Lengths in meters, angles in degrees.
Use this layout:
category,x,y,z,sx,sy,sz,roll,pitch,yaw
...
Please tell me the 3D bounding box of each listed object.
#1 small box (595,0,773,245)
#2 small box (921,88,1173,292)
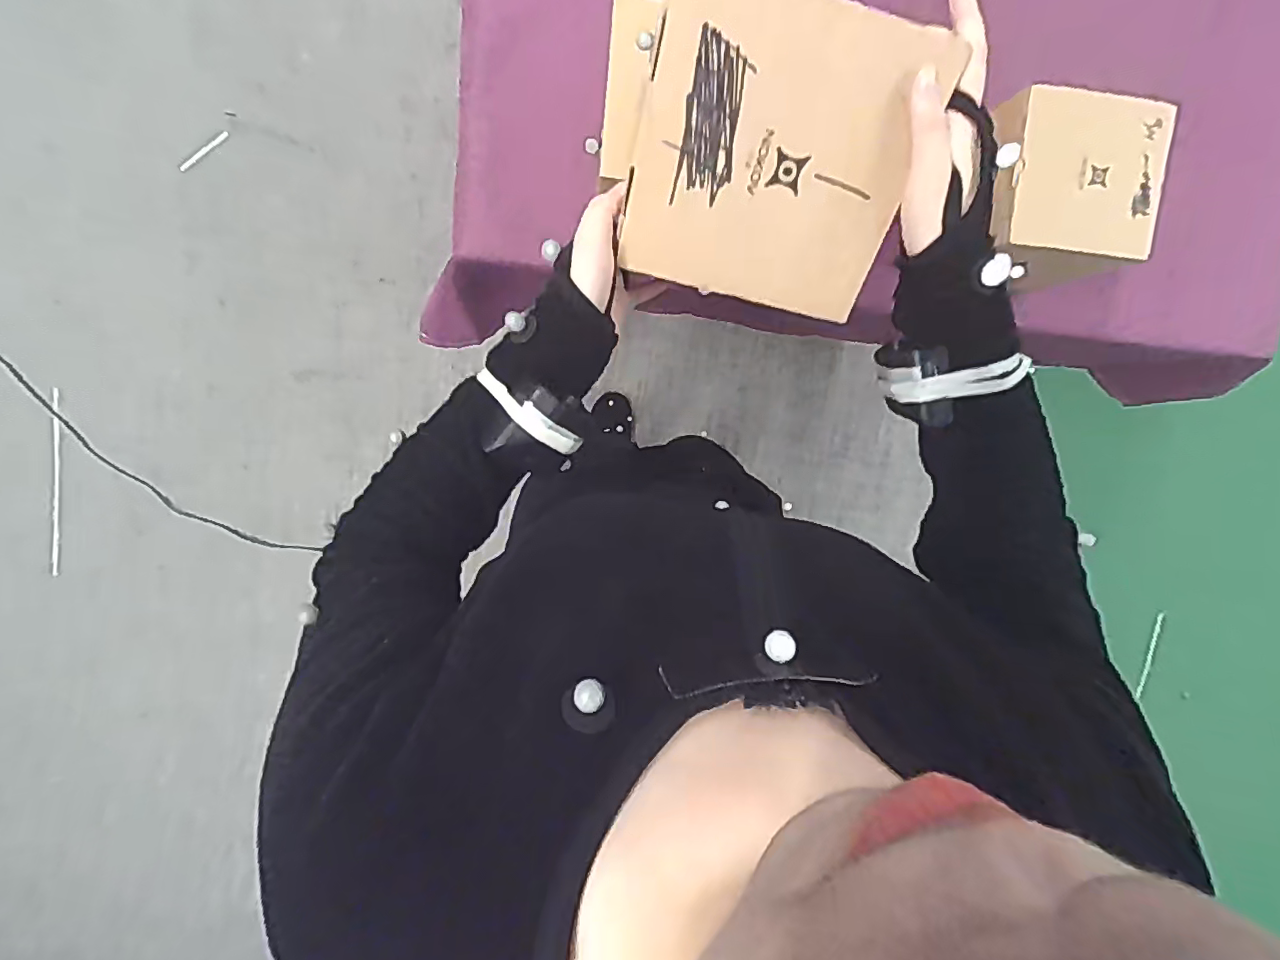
category,x,y,z,sx,sy,sz,roll,pitch,yaw
small box,0.038,-0.391,0.626,0.168,0.176,0.179,5,97,-6
small box,0.481,-0.340,0.668,0.179,0.176,0.168,5,97,-4
